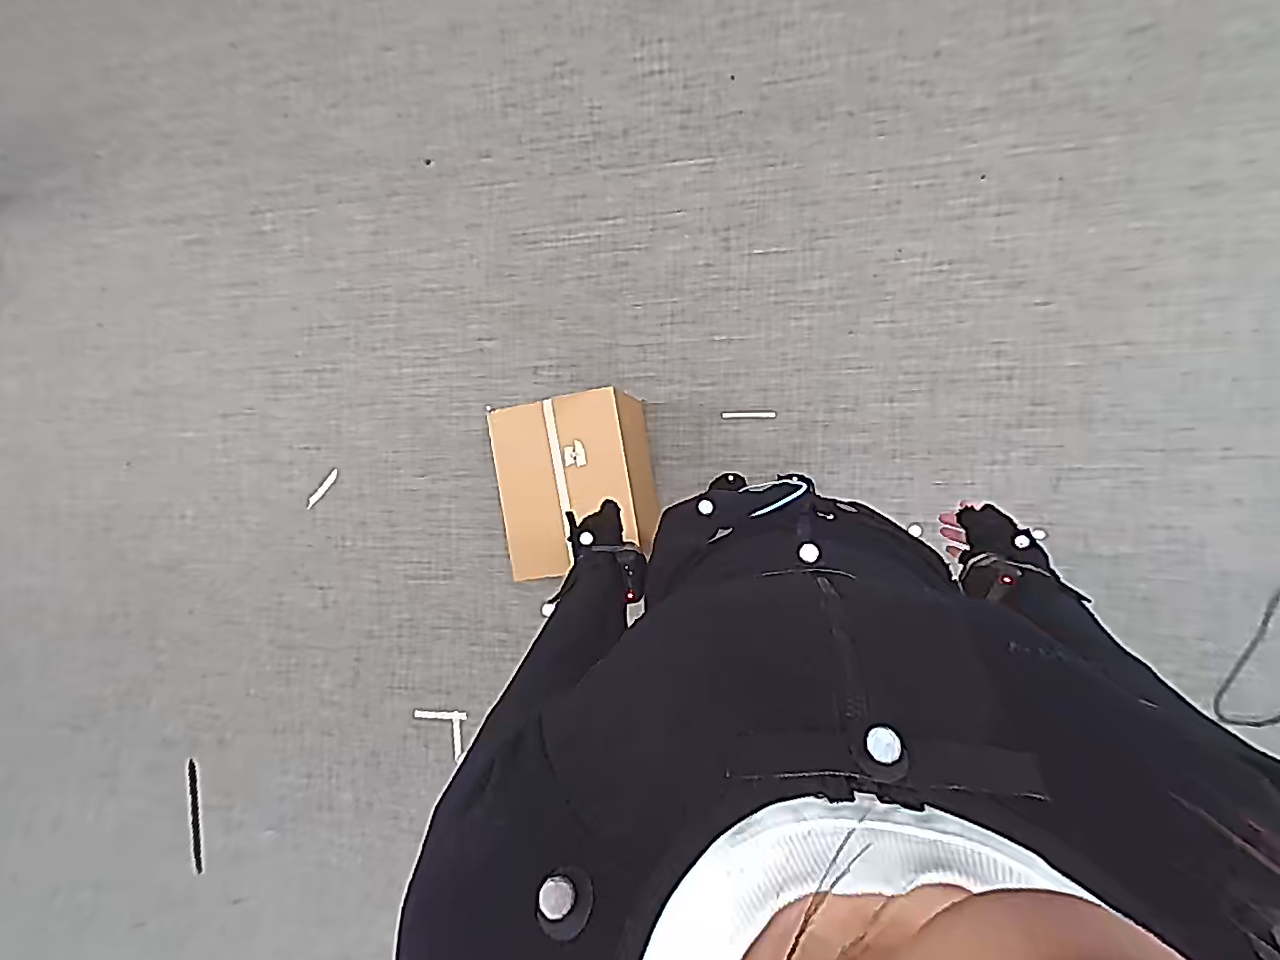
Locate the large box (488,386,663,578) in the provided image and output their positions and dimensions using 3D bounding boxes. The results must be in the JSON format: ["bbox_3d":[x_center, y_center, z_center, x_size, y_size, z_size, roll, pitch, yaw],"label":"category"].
[{"bbox_3d":[-0.145,0.007,1.381,0.320,0.320,0.408,-10,89,11],"label":"large box"}]
